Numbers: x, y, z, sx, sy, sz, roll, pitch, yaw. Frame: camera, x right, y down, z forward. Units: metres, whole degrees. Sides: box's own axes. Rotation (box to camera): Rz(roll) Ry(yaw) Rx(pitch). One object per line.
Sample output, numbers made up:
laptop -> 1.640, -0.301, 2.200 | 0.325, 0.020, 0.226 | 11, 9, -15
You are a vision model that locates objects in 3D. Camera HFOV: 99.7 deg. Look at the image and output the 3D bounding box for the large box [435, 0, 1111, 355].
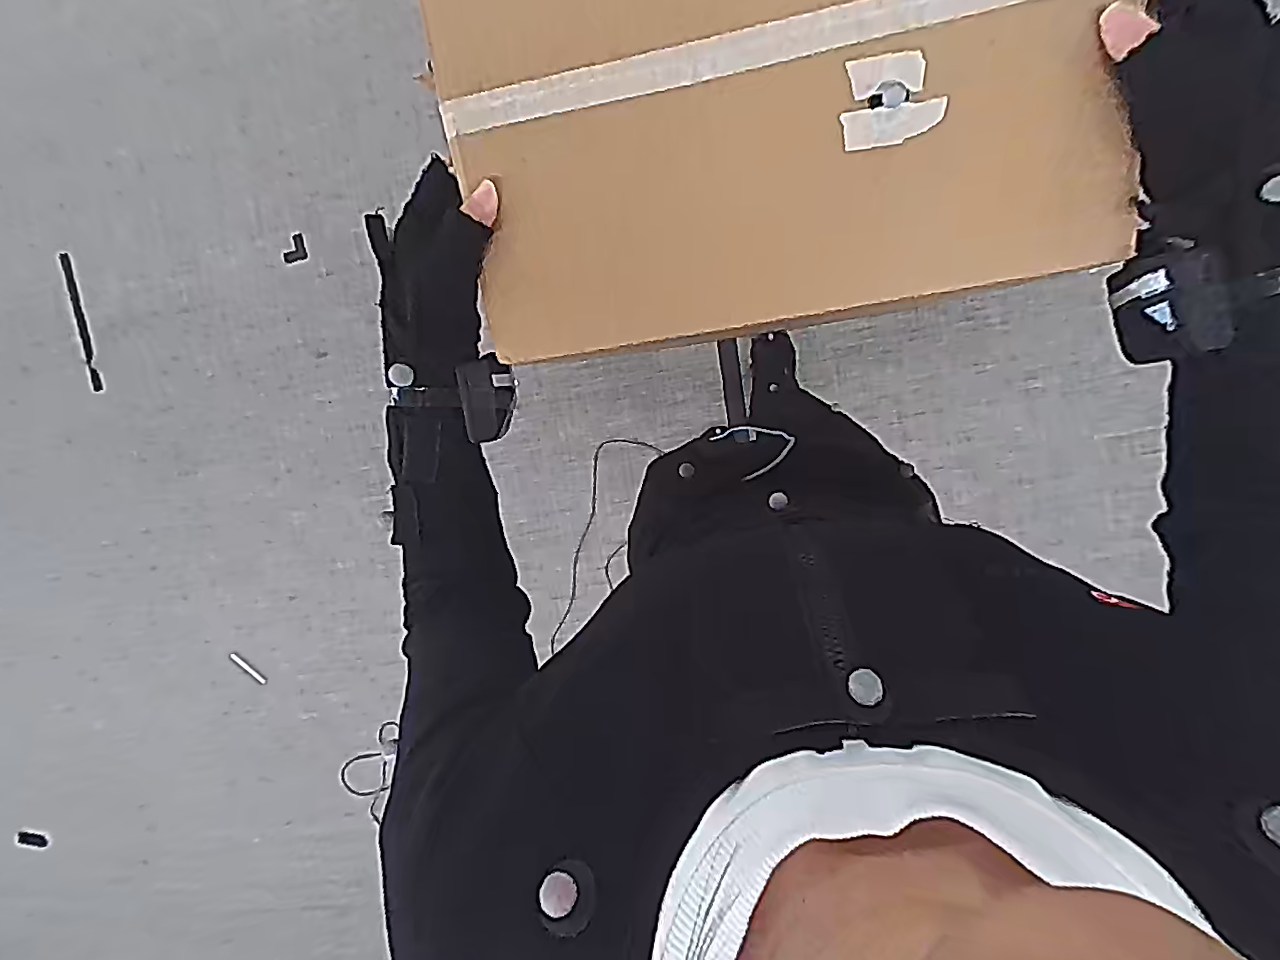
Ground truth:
large box -> 0.087, -0.301, 0.480 | 0.408, 0.320, 0.320 | -8, 102, 7
